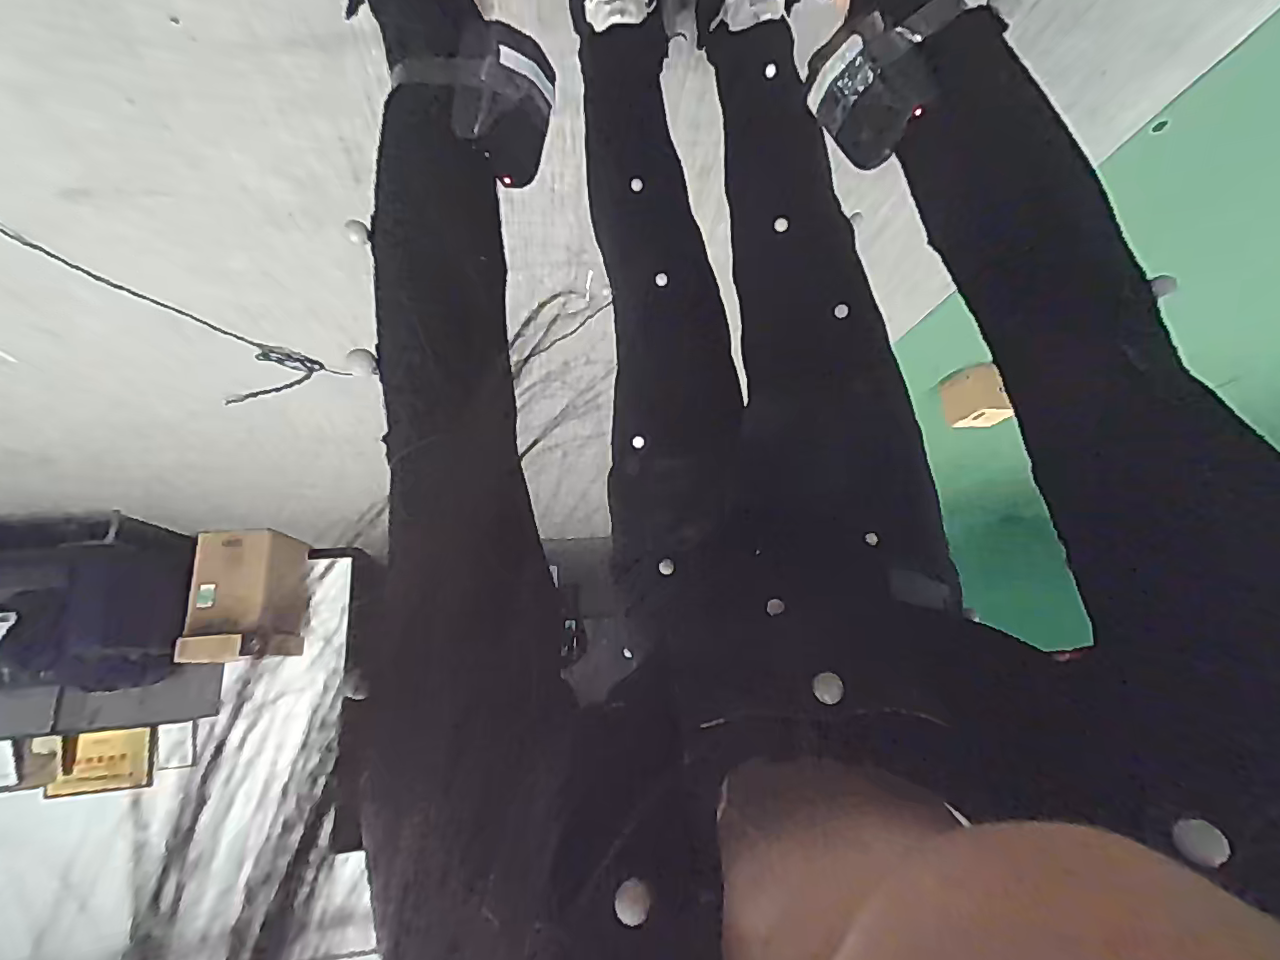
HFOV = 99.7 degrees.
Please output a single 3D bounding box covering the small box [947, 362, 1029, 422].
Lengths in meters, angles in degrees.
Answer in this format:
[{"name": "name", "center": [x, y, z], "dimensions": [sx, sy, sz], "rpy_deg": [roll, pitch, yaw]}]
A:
[{"name": "small box", "center": [1.264, -0.321, 1.979], "dimensions": [0.179, 0.176, 0.168], "rpy_deg": [-2, 164, -11]}]
